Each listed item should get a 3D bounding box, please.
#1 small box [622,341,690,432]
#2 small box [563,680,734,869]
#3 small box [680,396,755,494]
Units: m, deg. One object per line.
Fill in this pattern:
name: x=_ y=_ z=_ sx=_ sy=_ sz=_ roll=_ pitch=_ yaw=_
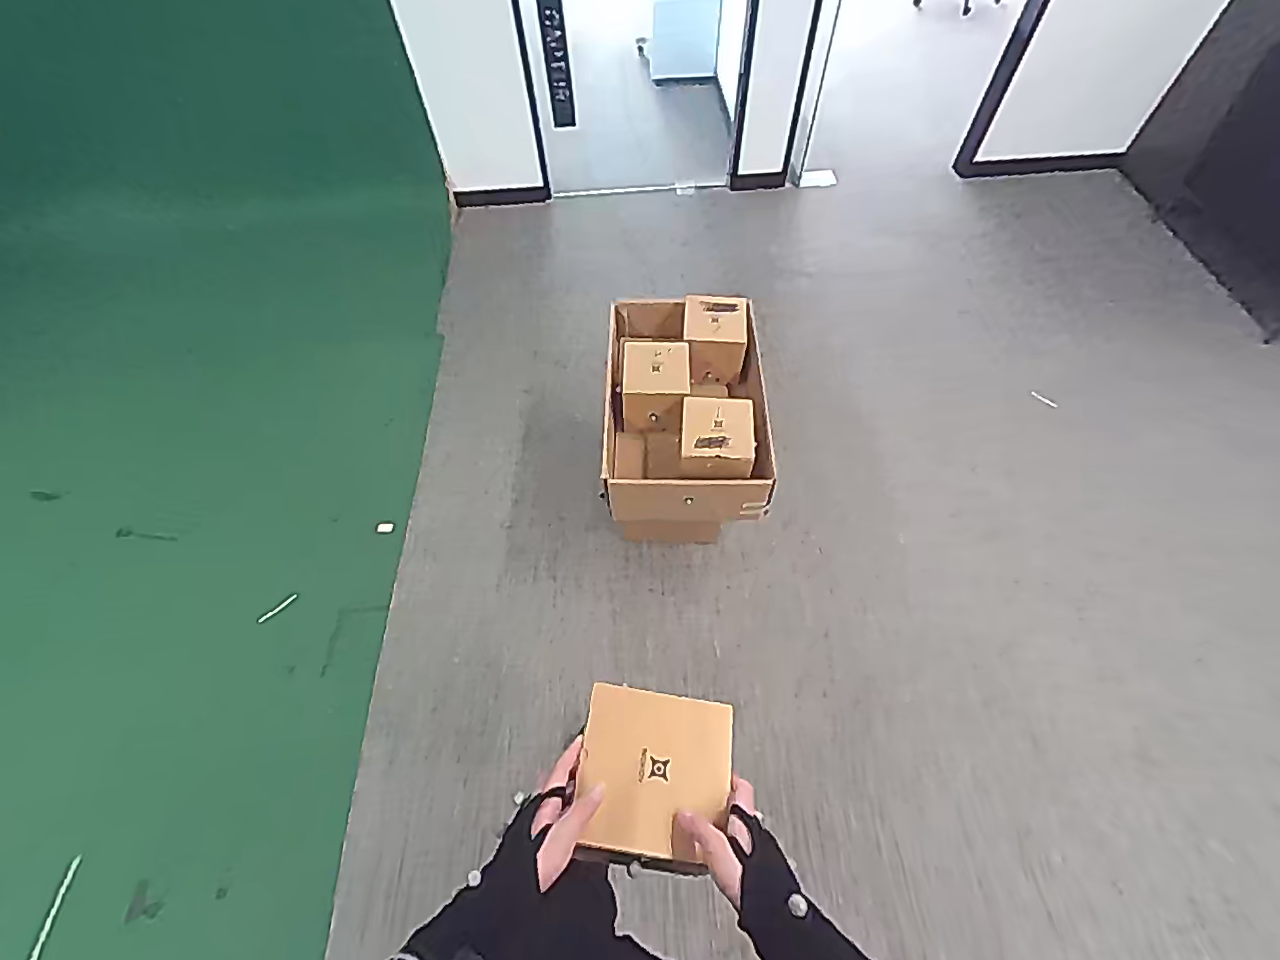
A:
small box: x=0.044 y=-0.239 z=1.402 sx=0.168 sy=0.176 sz=0.179 roll=1 pitch=59 yaw=1
small box: x=0.010 y=0.366 z=0.664 sx=0.179 sy=0.176 sz=0.168 roll=8 pitch=51 yaw=2
small box: x=0.182 y=-0.080 z=1.300 sx=0.168 sy=0.176 sz=0.179 roll=3 pitch=58 yaw=3
